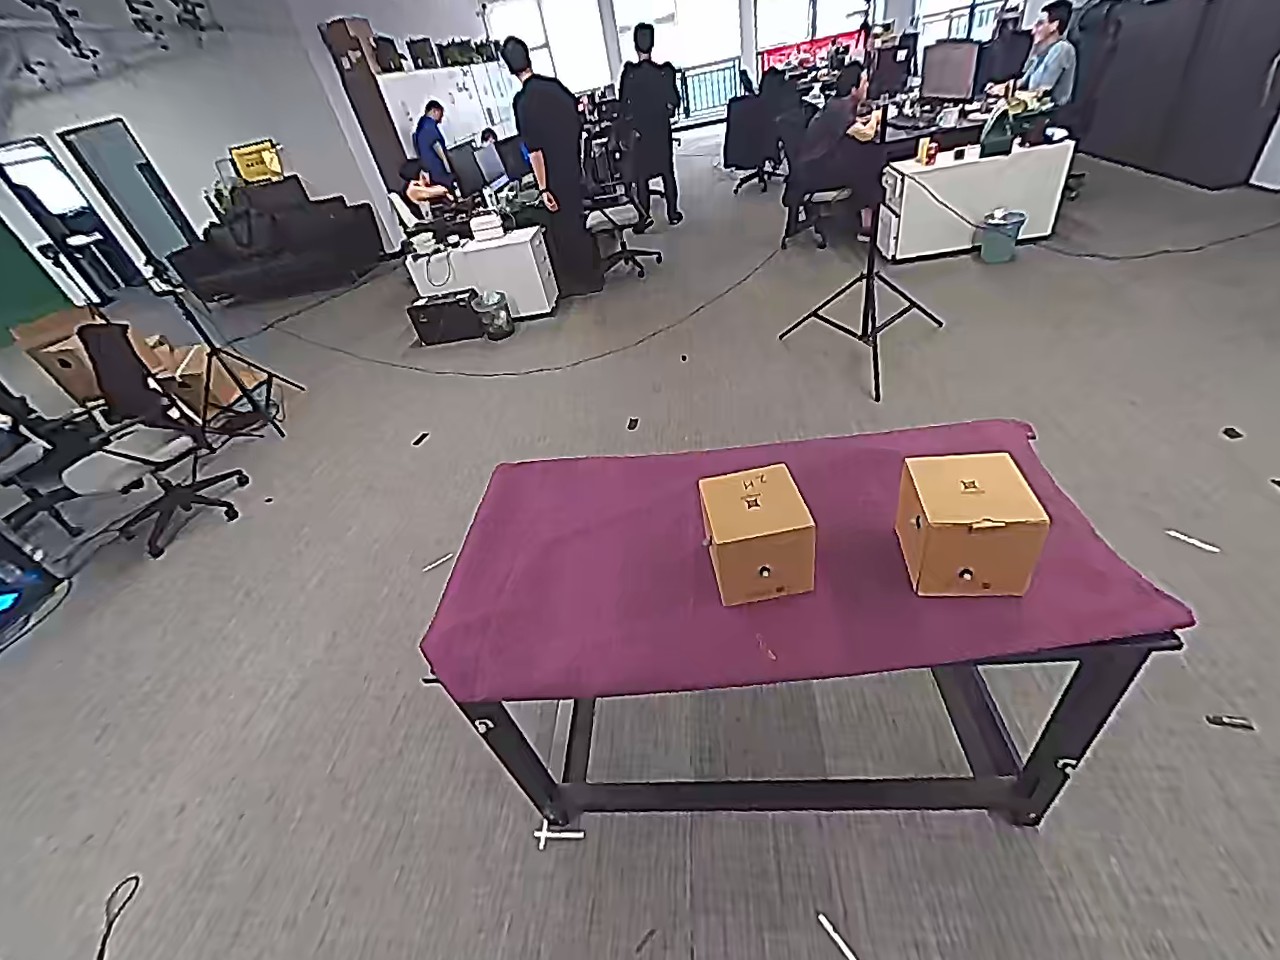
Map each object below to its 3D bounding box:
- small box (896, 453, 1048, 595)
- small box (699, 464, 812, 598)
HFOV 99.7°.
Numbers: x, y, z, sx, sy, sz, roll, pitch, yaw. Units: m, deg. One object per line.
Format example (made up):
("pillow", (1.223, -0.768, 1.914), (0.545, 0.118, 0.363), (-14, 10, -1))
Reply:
("small box", (0.548, 0.074, 0.923), (0.168, 0.176, 0.179), (-3, 37, 13))
("small box", (0.210, 0.099, 0.992), (0.168, 0.176, 0.179), (-11, 37, 3))
